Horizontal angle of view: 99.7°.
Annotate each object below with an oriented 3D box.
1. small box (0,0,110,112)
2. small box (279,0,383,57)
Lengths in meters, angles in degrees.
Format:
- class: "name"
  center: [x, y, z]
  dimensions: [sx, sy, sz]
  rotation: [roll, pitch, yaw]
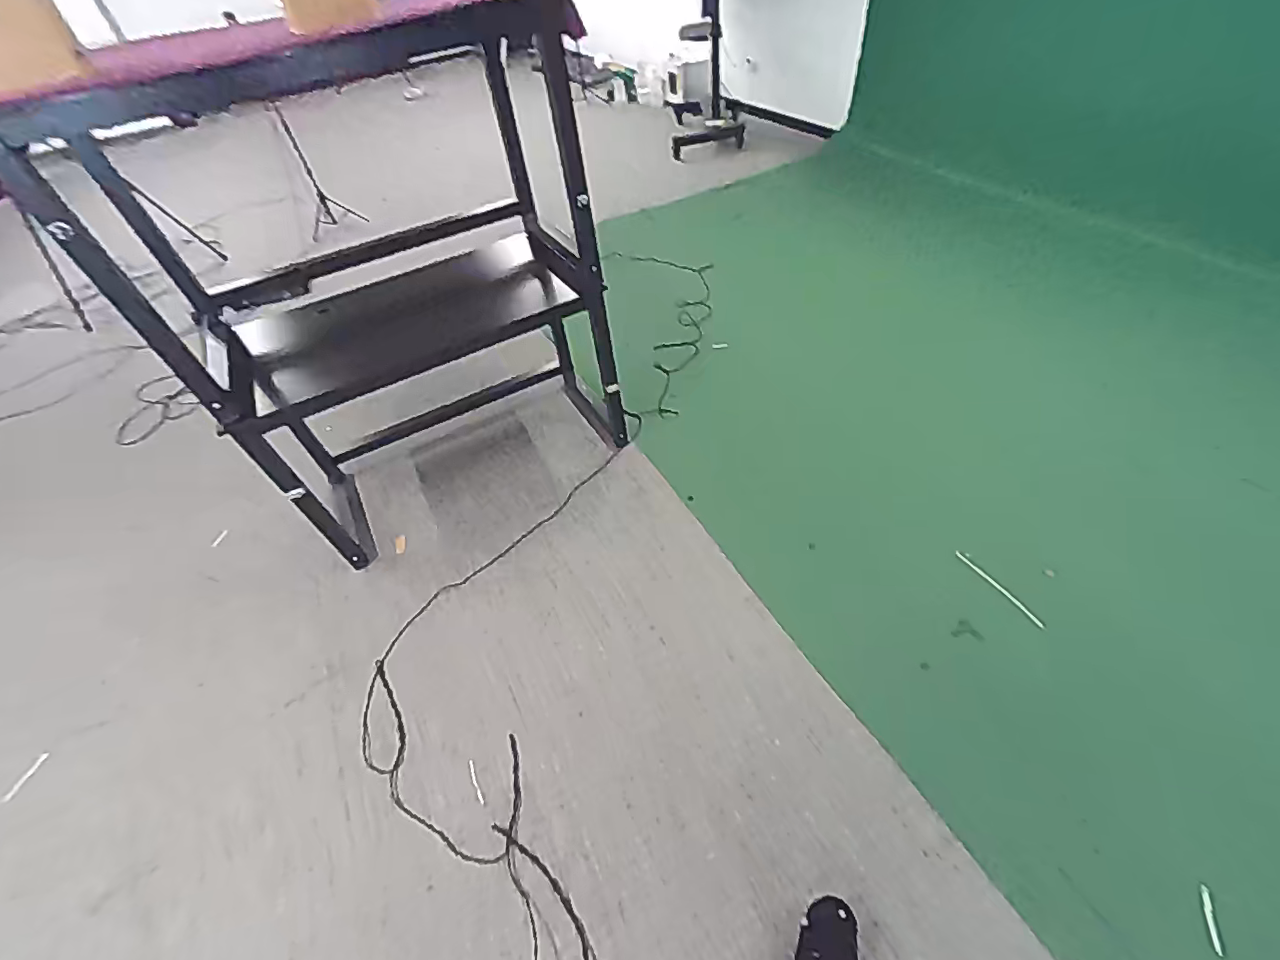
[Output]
- class: "small box"
  center: [-1.157, -0.804, 1.002]
  dimensions: [0.179, 0.176, 0.168]
  rotation: [-26, 49, -17]
- class: "small box"
  center: [-0.679, -1.041, 1.165]
  dimensions: [0.179, 0.176, 0.168]
  rotation: [-29, 49, -18]
